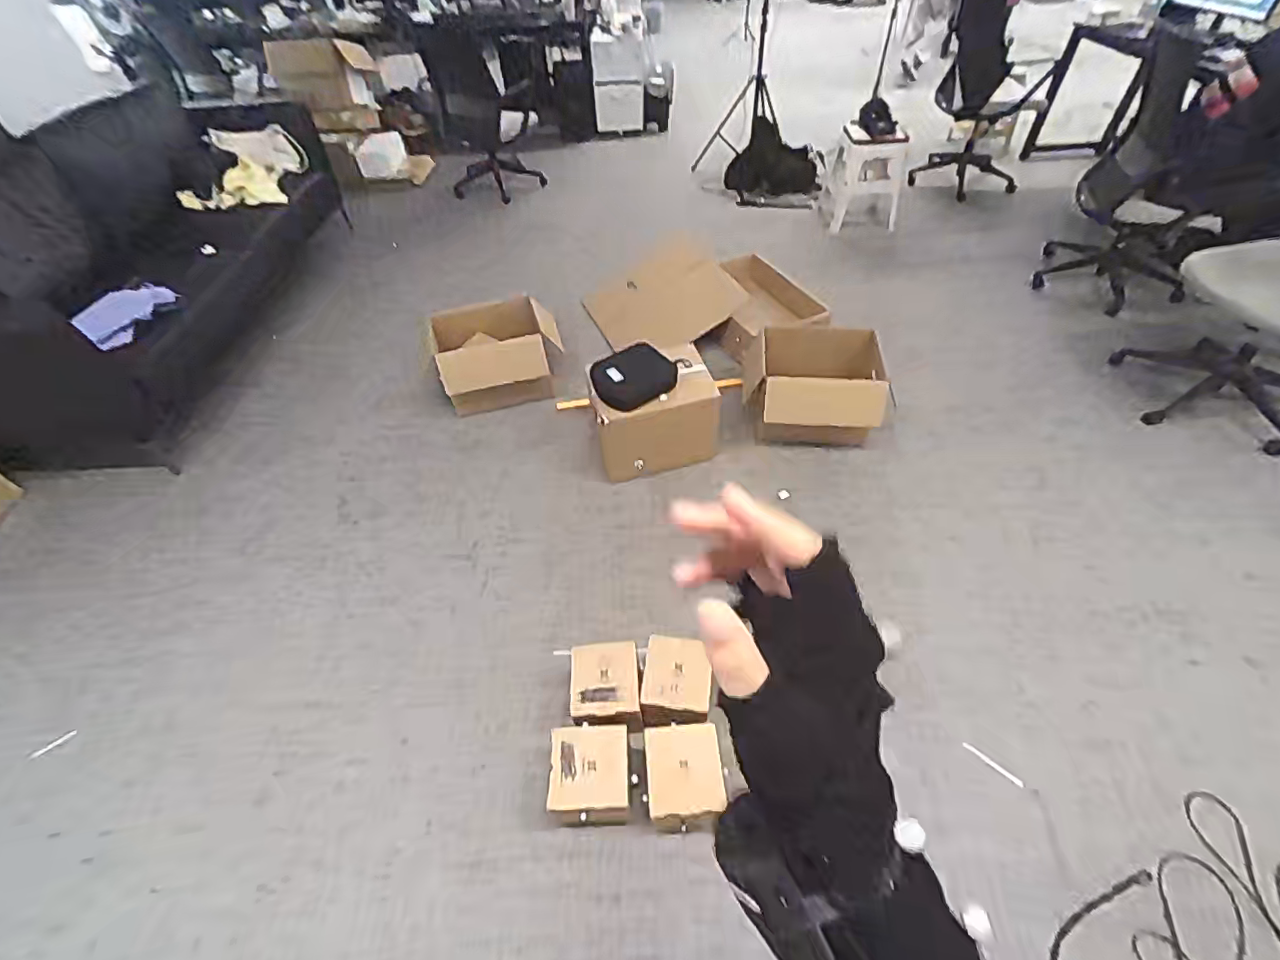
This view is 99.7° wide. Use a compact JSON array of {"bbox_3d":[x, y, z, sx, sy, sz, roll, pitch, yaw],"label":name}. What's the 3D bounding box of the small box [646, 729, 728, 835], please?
[{"bbox_3d":[0.102,0.691,1.237,0.168,0.176,0.179,-5,49,0],"label":"small box"}]
